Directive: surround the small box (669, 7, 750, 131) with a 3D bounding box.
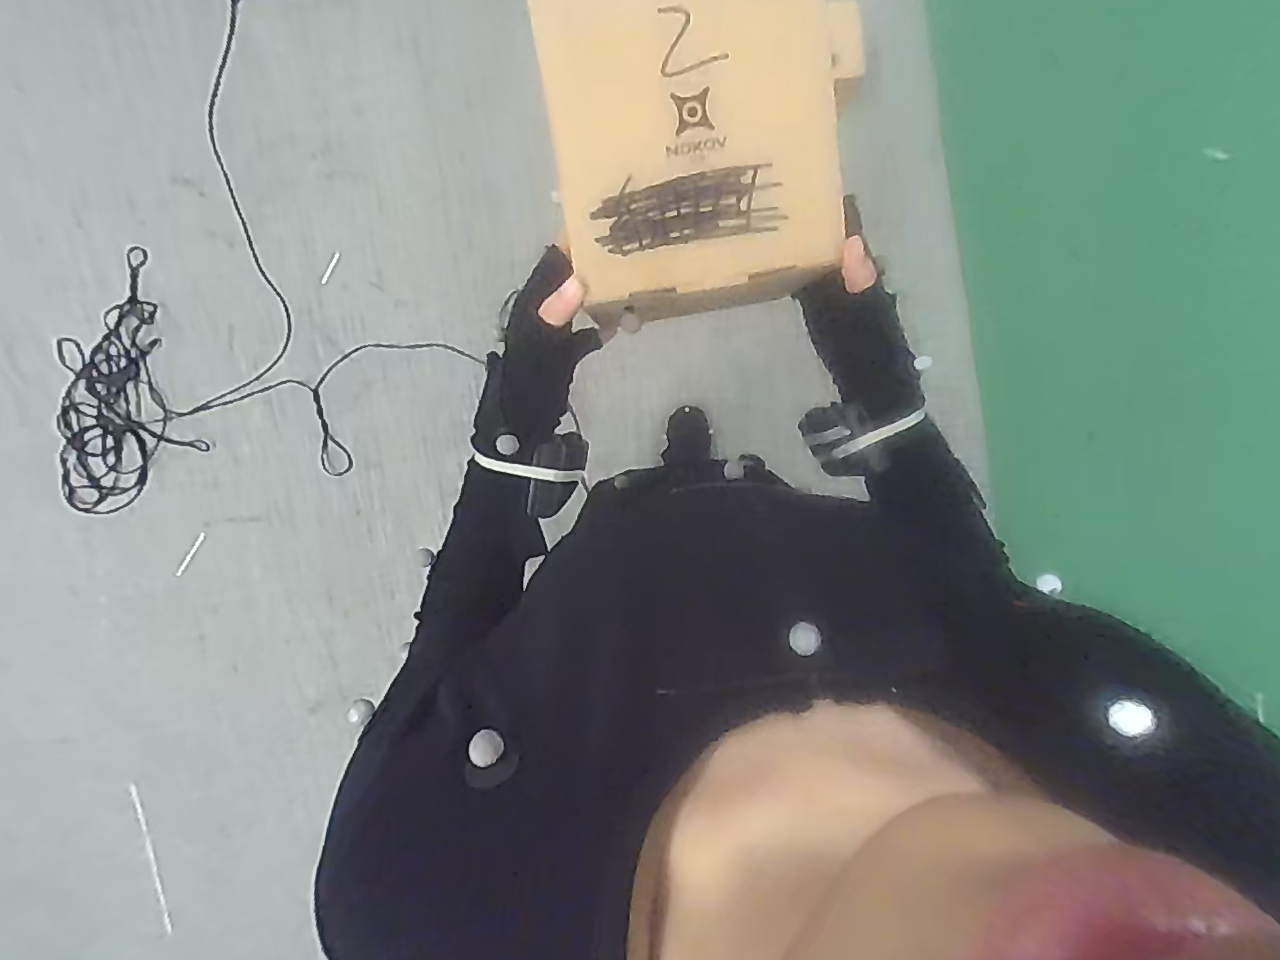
[{"bbox_3d":[0.165,-1.001,1.328,0.168,0.176,0.179,-7,94,1],"label":"small box"}]
